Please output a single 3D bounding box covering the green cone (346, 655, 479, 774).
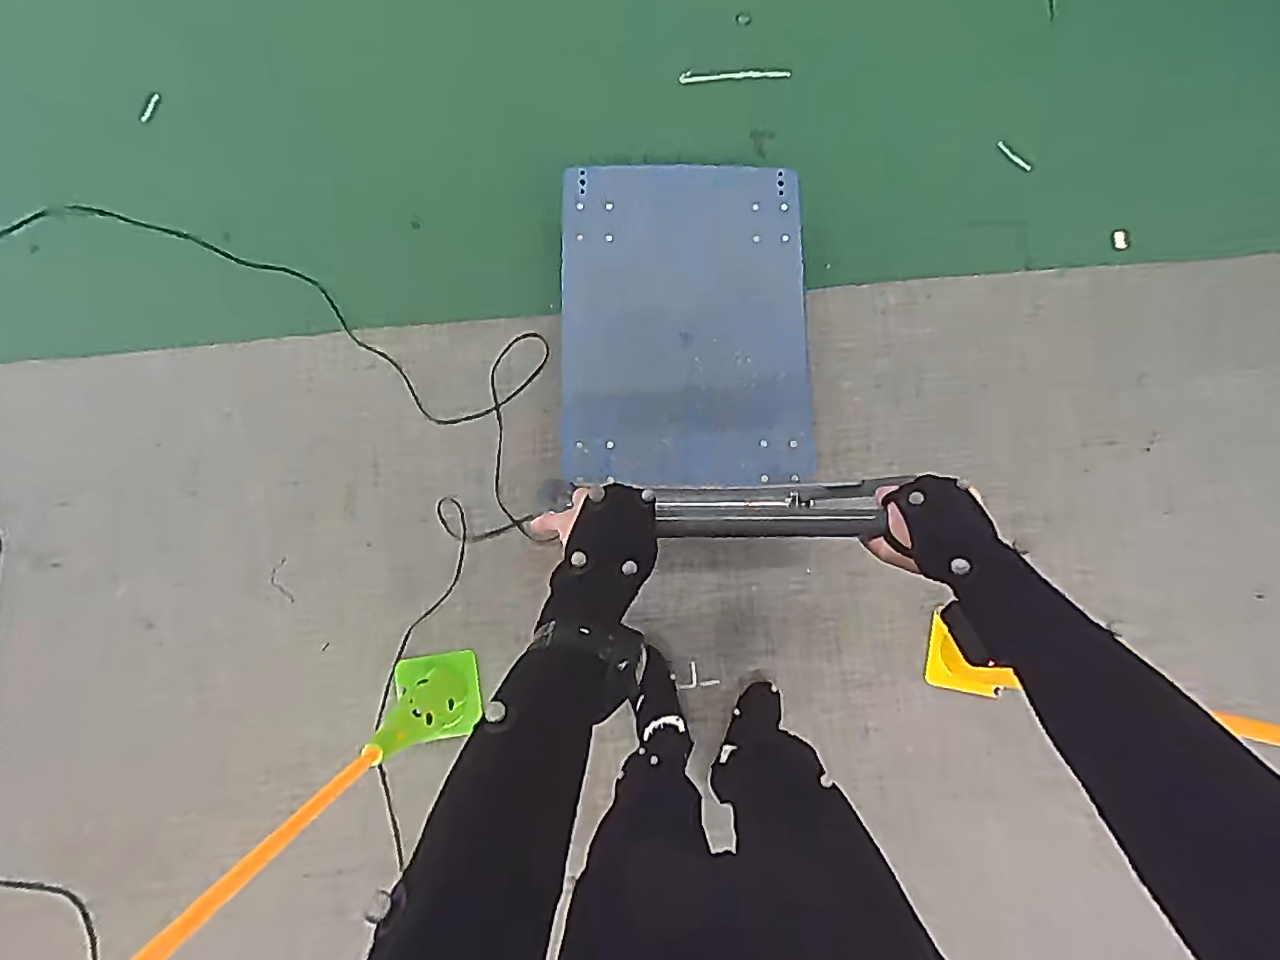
[{"bbox_3d":[-0.498,0.516,1.137,0.202,0.368,0.200,-9,84,-1],"label":"green cone"}]
